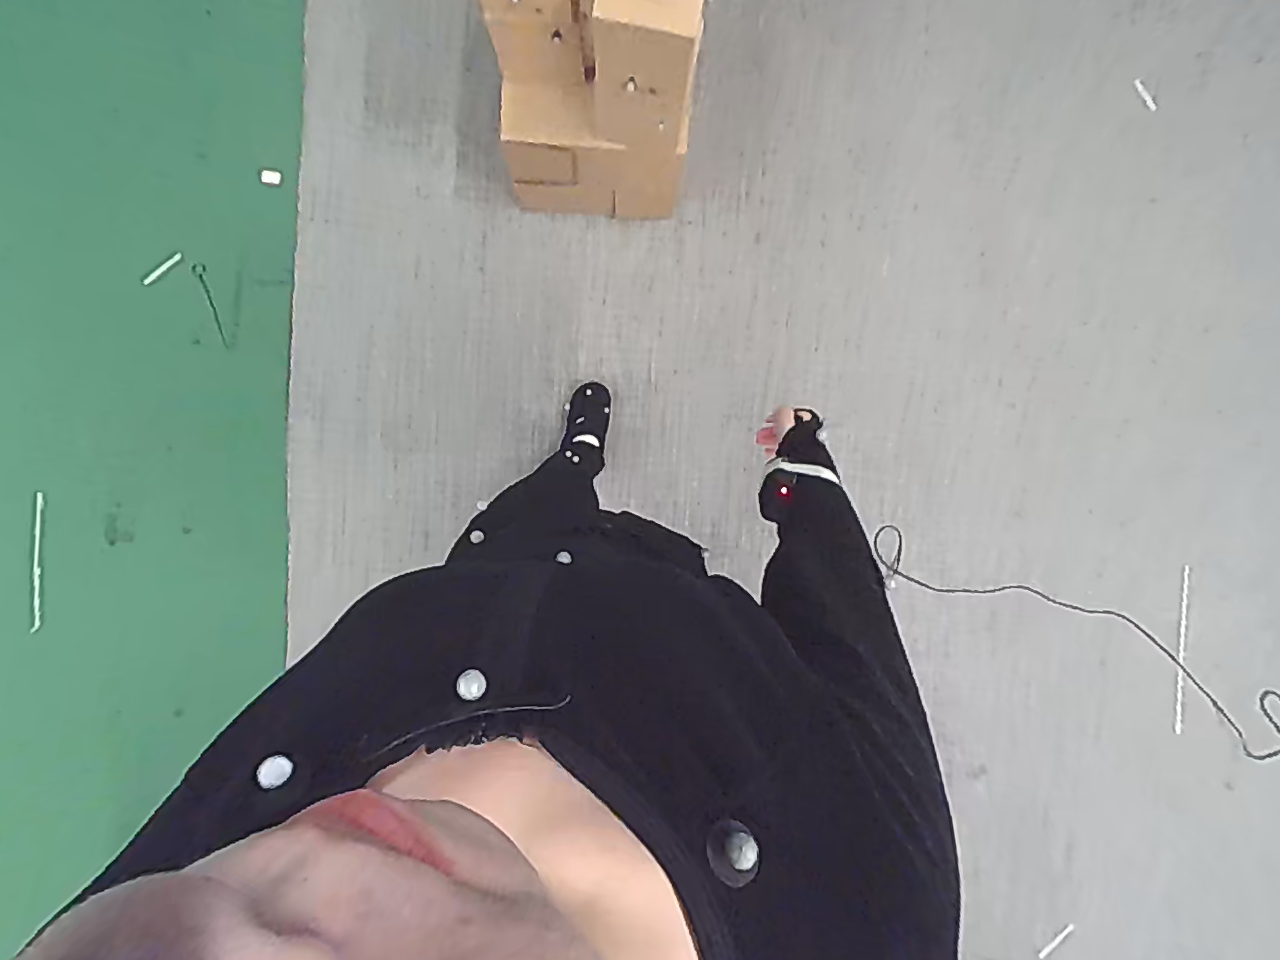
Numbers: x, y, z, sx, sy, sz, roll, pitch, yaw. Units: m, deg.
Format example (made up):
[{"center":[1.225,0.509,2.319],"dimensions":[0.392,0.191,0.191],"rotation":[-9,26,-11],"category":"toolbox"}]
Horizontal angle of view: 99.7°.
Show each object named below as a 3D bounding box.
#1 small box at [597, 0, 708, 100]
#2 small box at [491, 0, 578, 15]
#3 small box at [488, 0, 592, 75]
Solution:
[{"center":[0.026,-0.788,0.900],"dimensions":[0.168,0.176,0.179],"rotation":[11,91,-2],"category":"small box"},{"center":[-0.186,-0.931,0.893],"dimensions":[0.168,0.176,0.179],"rotation":[4,92,-1],"category":"small box"},{"center":[-0.187,-0.934,1.056],"dimensions":[0.179,0.176,0.168],"rotation":[2,90,-1],"category":"small box"}]
